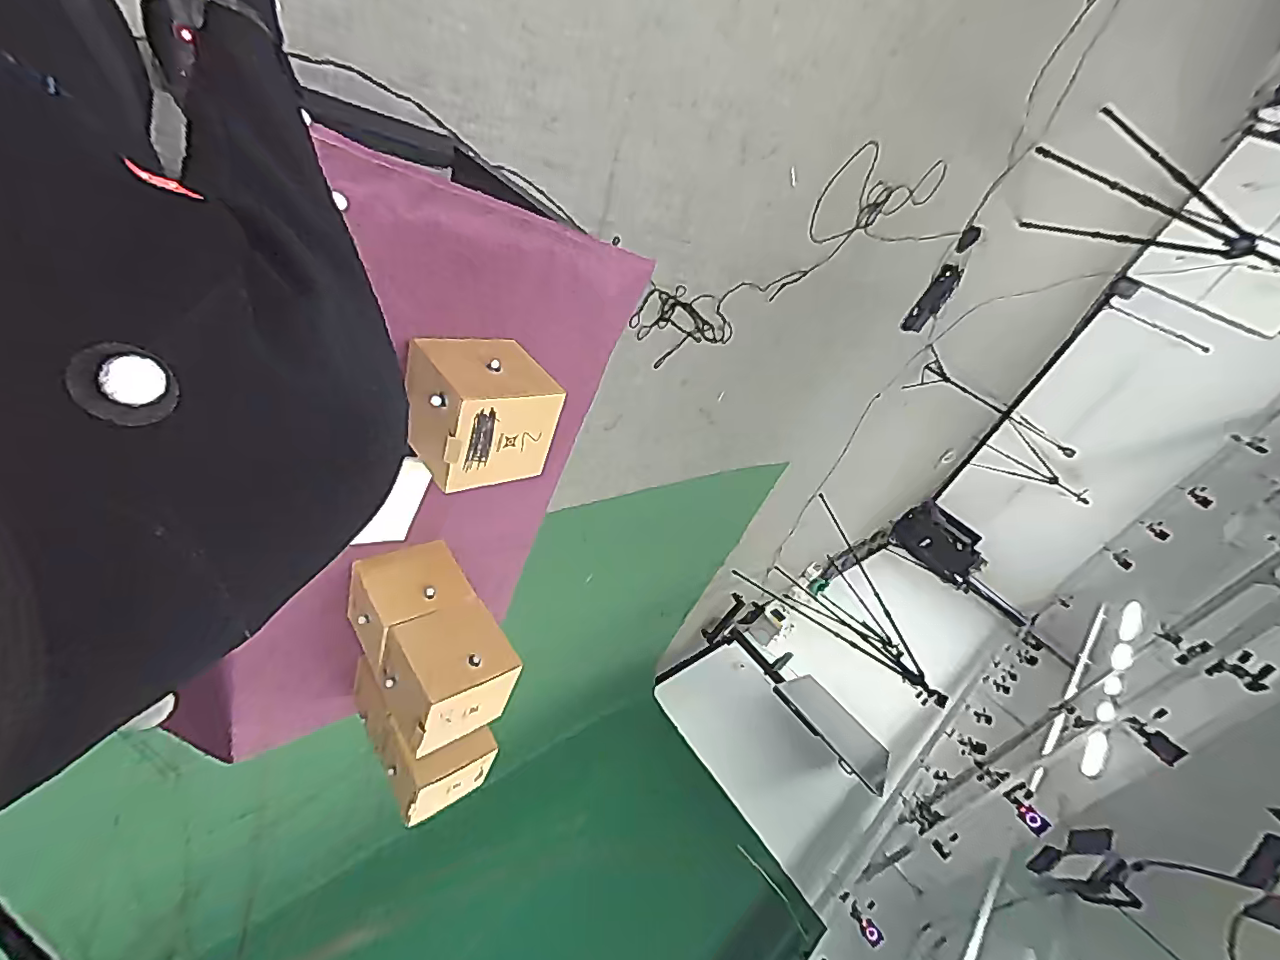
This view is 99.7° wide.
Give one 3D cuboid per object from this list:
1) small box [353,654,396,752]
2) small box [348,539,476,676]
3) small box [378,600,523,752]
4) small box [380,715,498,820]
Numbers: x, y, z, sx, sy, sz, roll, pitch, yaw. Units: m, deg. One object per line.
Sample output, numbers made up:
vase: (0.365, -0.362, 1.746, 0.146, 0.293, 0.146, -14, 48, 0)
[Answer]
small box: (-0.543, 0.482, 1.256, 0.179, 0.176, 0.168, -10, 137, -46)
small box: (-0.454, 0.242, 1.063, 0.179, 0.176, 0.168, -14, 138, -44)
small box: (-0.350, 0.346, 0.988, 0.179, 0.176, 0.168, -10, 136, -46)
small box: (-0.442, 0.580, 1.172, 0.179, 0.176, 0.168, -9, 137, -45)
